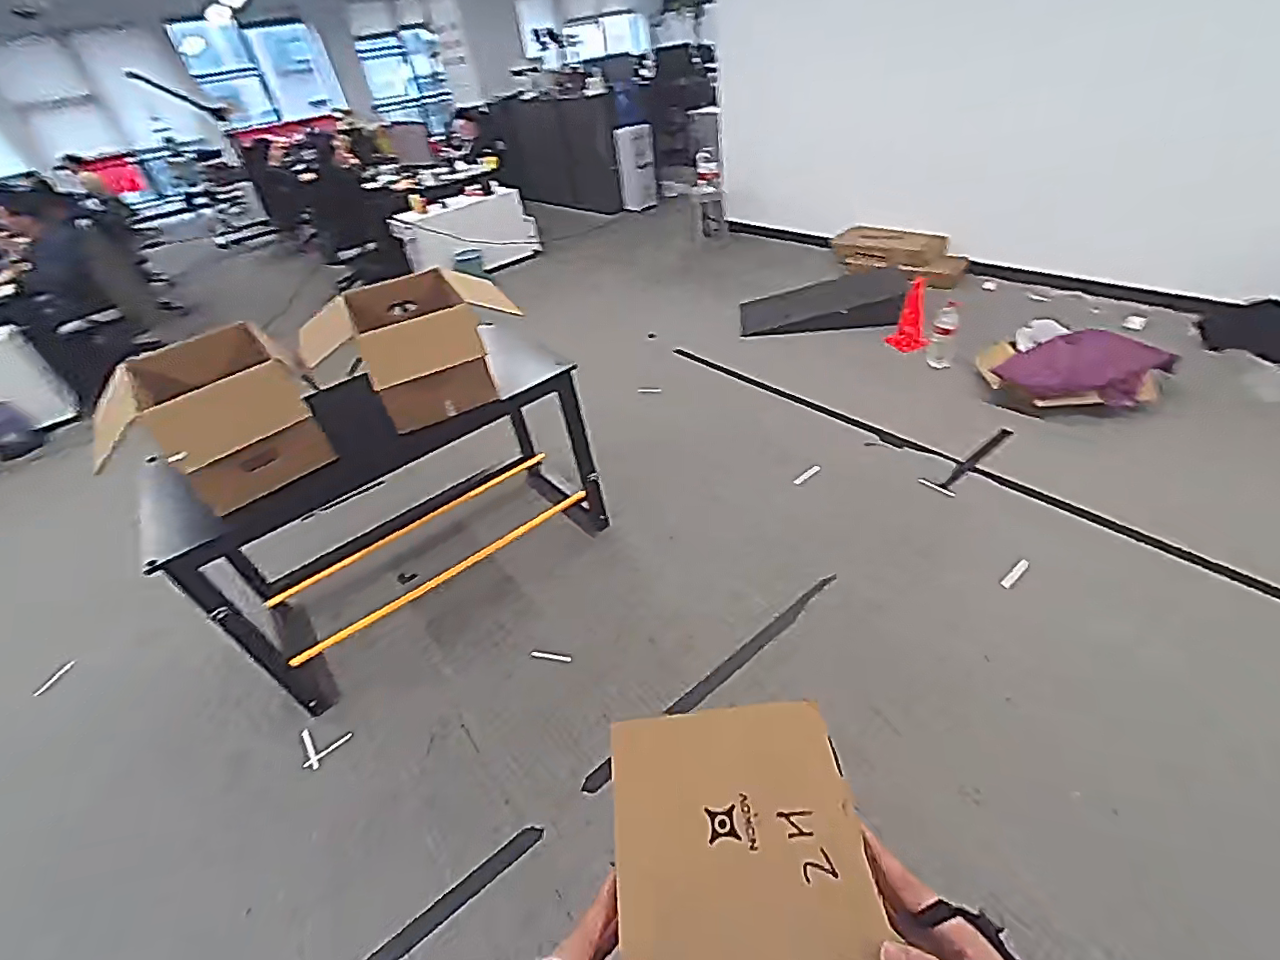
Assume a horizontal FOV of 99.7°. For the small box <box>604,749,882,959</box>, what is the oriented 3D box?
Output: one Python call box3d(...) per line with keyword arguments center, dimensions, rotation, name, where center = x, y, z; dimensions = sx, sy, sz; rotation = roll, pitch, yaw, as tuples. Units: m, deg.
box3d(center=(0.072, 0.339, 0.431), dimensions=(0.179, 0.176, 0.168), rotation=(-7, 45, 0), name="small box")
